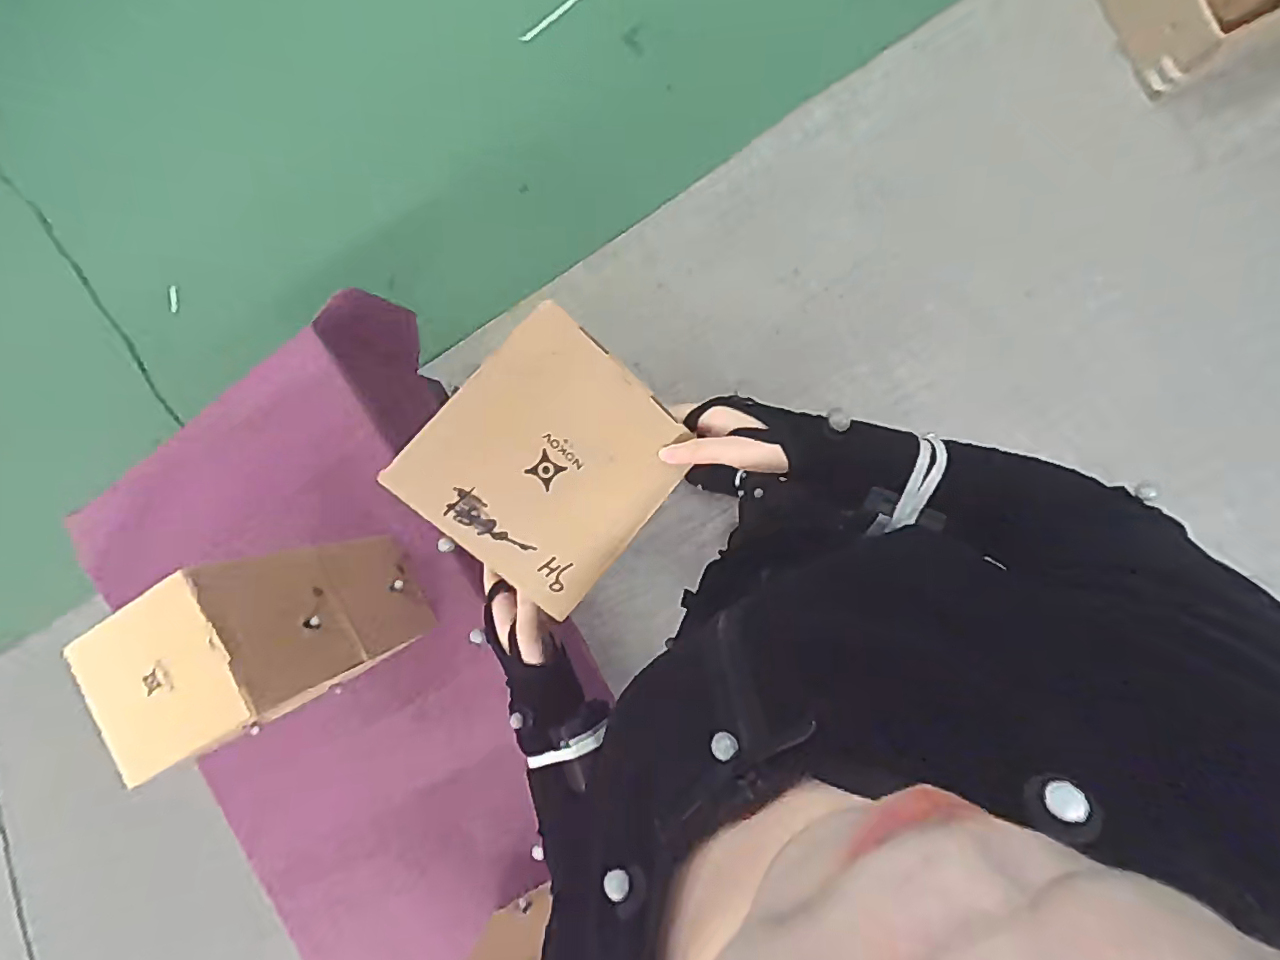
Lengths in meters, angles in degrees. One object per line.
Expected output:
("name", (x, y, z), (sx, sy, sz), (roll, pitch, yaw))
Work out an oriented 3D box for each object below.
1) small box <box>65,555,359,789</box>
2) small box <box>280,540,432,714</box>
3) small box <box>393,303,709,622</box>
("small box", (-0.473, 0.204, 0.621), (0.179, 0.176, 0.168), (-31, 85, 8))
("small box", (-0.443, 0.204, 0.782), (0.179, 0.176, 0.168), (-31, 86, 9))
("small box", (-0.079, -0.016, 0.468), (0.168, 0.176, 0.179), (44, 80, -14))
